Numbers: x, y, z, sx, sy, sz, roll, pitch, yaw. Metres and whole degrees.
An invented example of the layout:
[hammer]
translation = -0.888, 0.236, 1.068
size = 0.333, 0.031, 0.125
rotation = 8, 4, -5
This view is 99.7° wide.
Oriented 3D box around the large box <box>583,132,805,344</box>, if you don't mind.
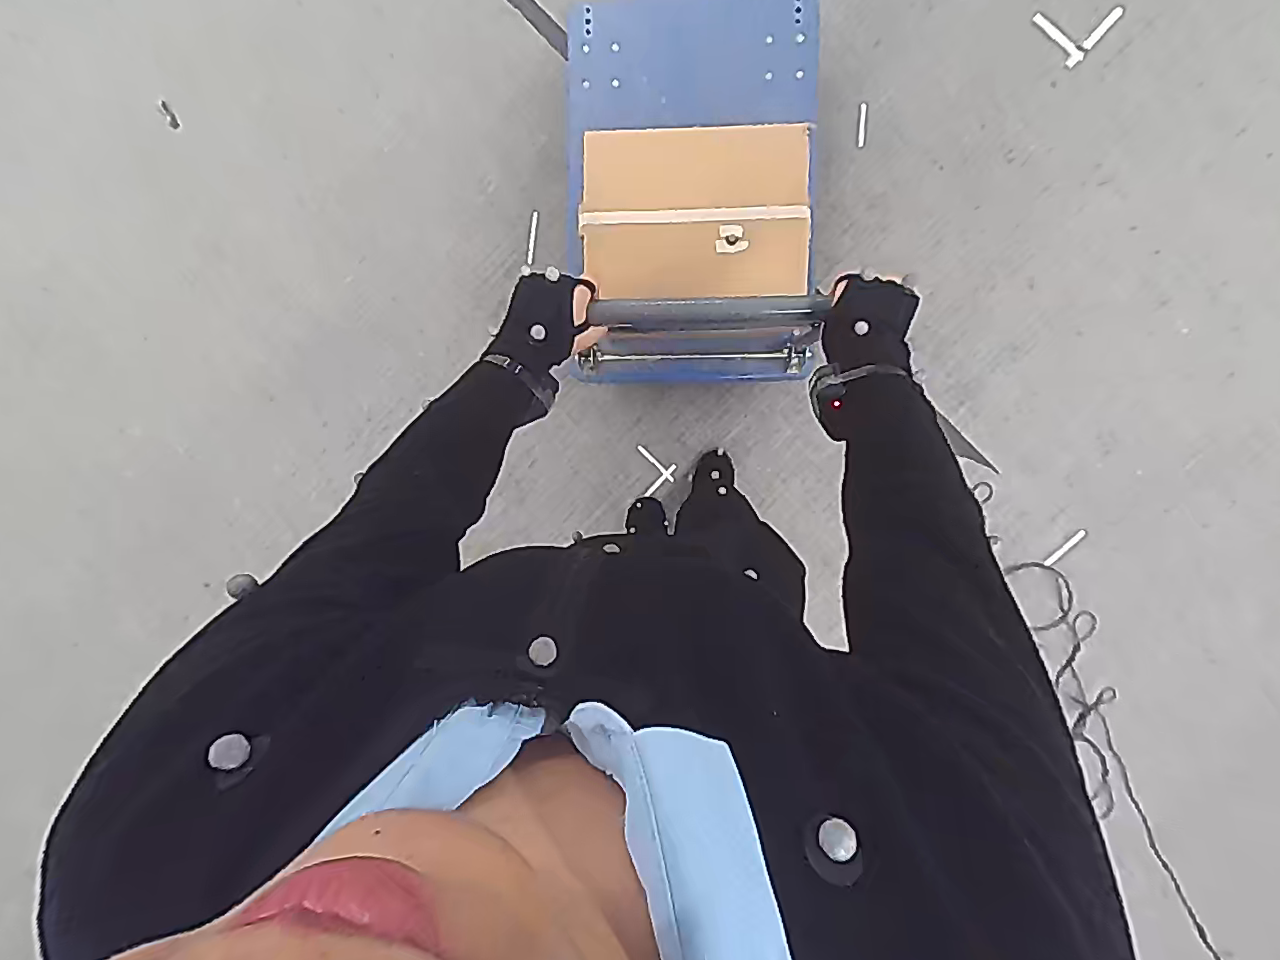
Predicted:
[large box]
translation = 0.103, -0.472, 1.126
size = 0.408, 0.320, 0.320
rotation = 0, 94, 3
